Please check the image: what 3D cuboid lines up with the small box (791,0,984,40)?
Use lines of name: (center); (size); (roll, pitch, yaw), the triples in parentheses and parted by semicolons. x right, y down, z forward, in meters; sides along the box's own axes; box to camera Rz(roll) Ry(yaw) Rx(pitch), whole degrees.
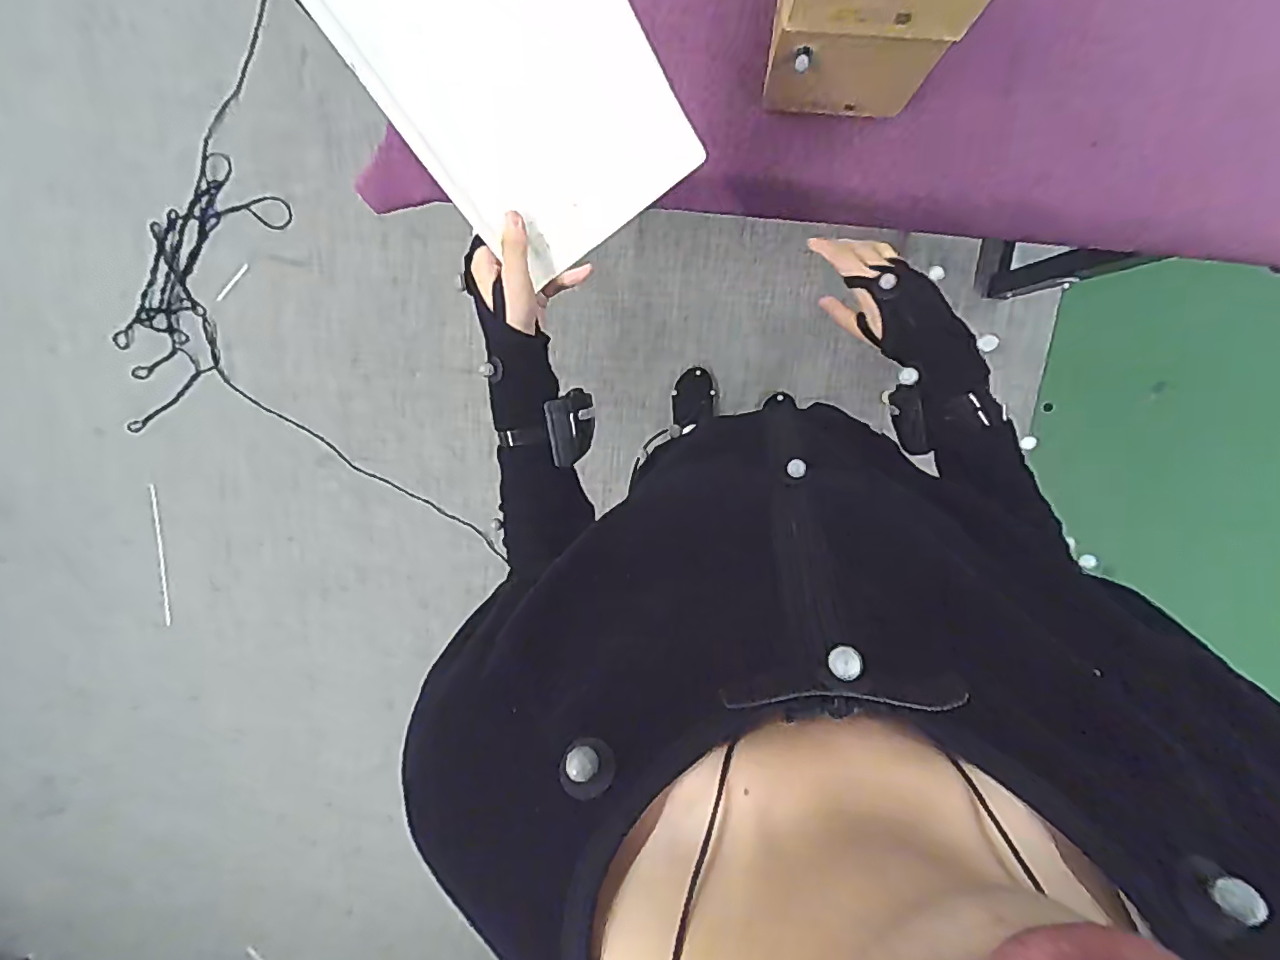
small box: (0.222, -0.490, 0.422); (0.168, 0.176, 0.179); (8, 100, 4)
